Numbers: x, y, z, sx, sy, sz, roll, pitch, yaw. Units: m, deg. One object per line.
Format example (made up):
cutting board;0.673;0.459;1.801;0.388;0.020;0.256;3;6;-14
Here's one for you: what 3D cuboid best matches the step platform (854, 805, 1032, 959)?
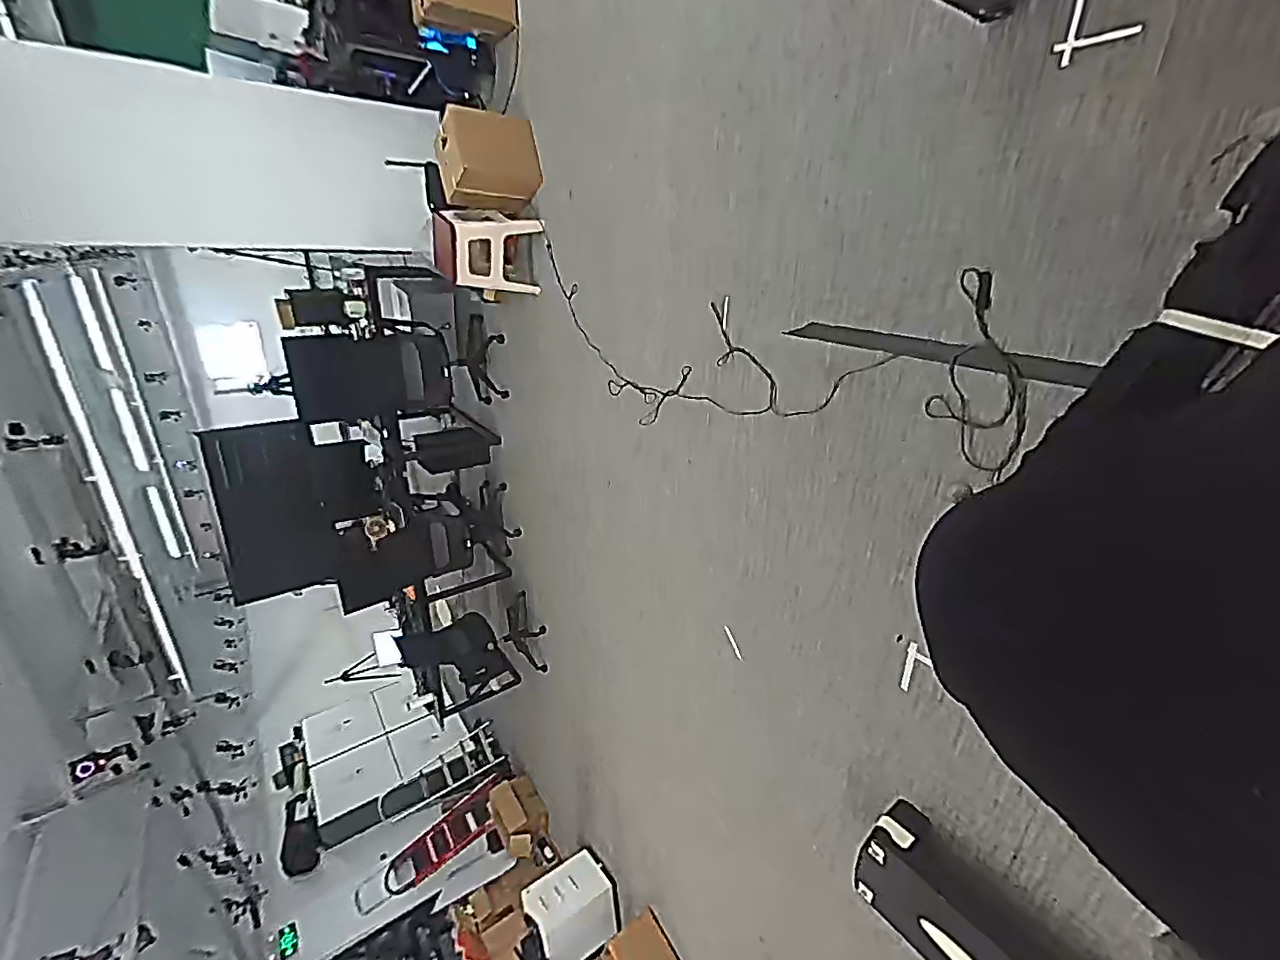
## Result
step platform;0.951;1.298;1.519;0.684;0.204;0.286;29;126;47
